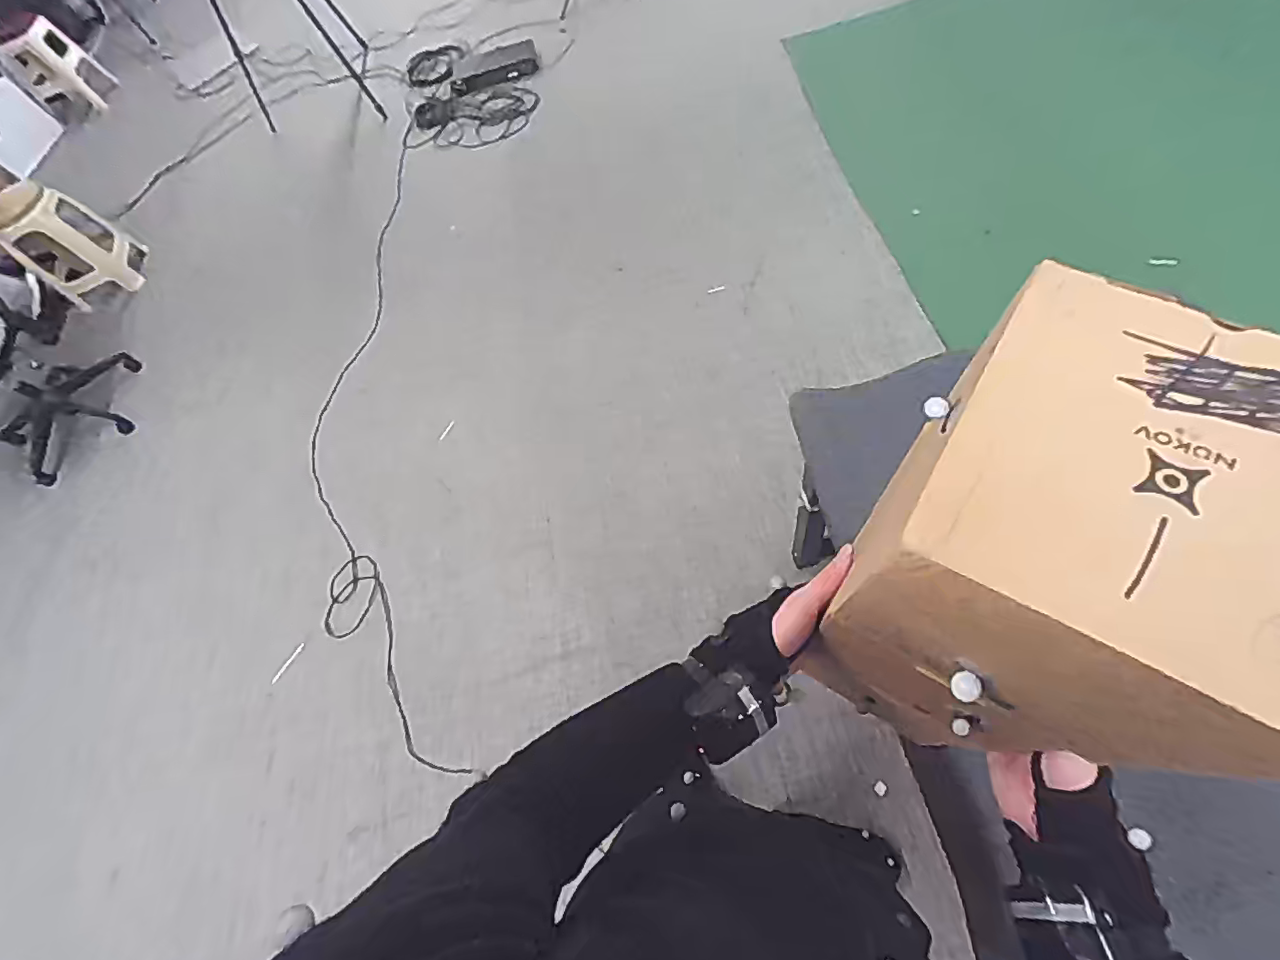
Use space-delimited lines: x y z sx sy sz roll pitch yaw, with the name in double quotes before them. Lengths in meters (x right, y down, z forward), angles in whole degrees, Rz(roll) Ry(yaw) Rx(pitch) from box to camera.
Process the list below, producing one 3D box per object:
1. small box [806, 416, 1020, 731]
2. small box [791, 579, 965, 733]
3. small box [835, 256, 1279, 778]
"small box" 0.250 0.086 0.444 0.168 0.176 0.179 27 72 19
"small box" 0.278 0.149 0.591 0.168 0.176 0.179 29 74 20
"small box" 0.225 0.024 0.293 0.168 0.176 0.179 29 75 20
